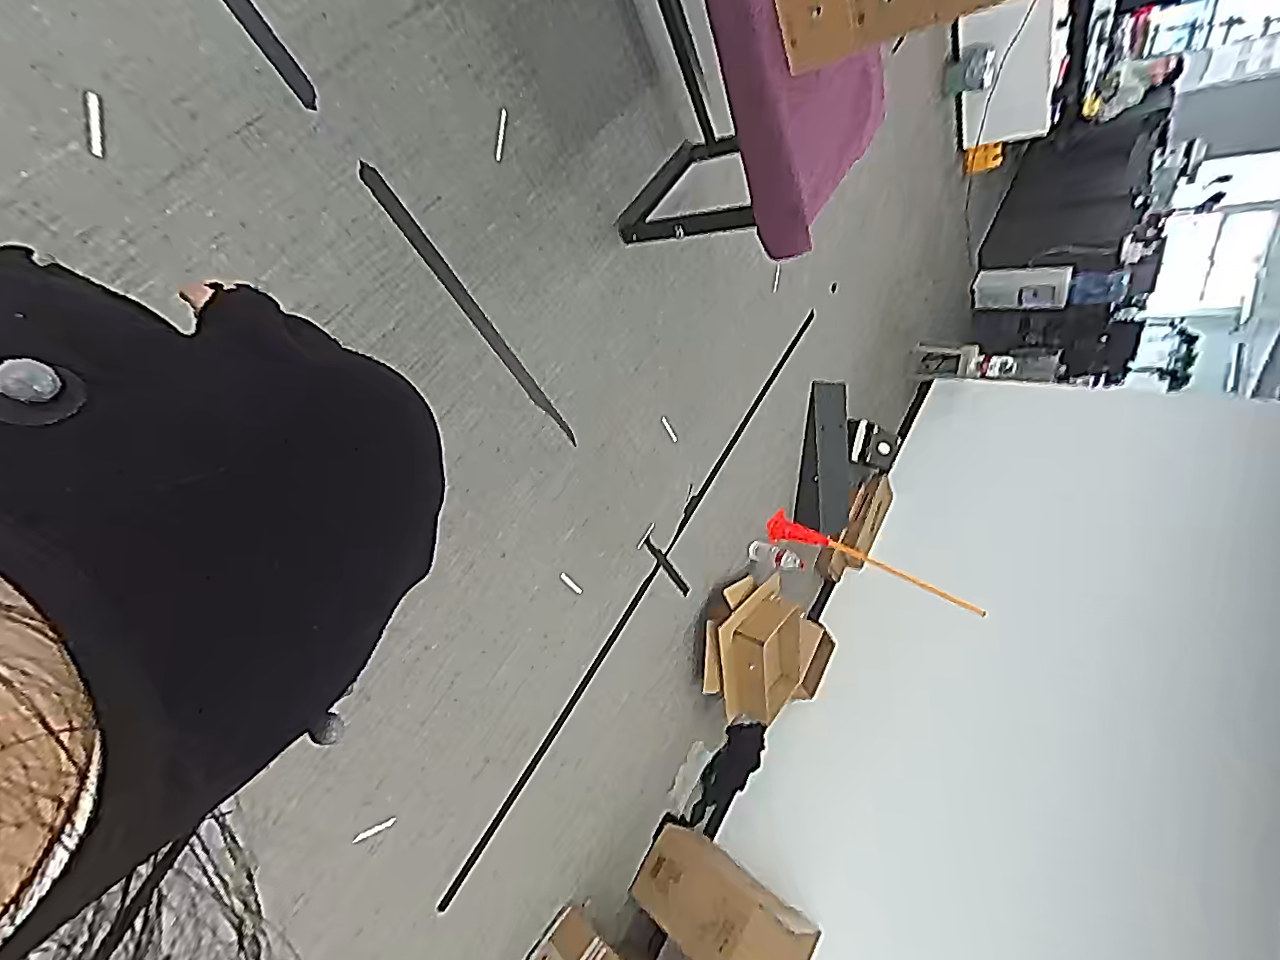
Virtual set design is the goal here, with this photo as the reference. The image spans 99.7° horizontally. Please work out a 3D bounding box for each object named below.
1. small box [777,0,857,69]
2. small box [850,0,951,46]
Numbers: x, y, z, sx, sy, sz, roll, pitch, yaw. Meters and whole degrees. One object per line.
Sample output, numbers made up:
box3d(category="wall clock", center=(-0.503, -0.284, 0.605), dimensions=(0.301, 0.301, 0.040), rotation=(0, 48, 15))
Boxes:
box3d(category="small box", center=(0.433, -1.103, 1.255), dimensions=(0.179, 0.176, 0.168), rotation=(-56, 136, -22))
box3d(category="small box", center=(0.556, -1.074, 1.151), dimensions=(0.179, 0.176, 0.168), rotation=(-55, 135, -22))
